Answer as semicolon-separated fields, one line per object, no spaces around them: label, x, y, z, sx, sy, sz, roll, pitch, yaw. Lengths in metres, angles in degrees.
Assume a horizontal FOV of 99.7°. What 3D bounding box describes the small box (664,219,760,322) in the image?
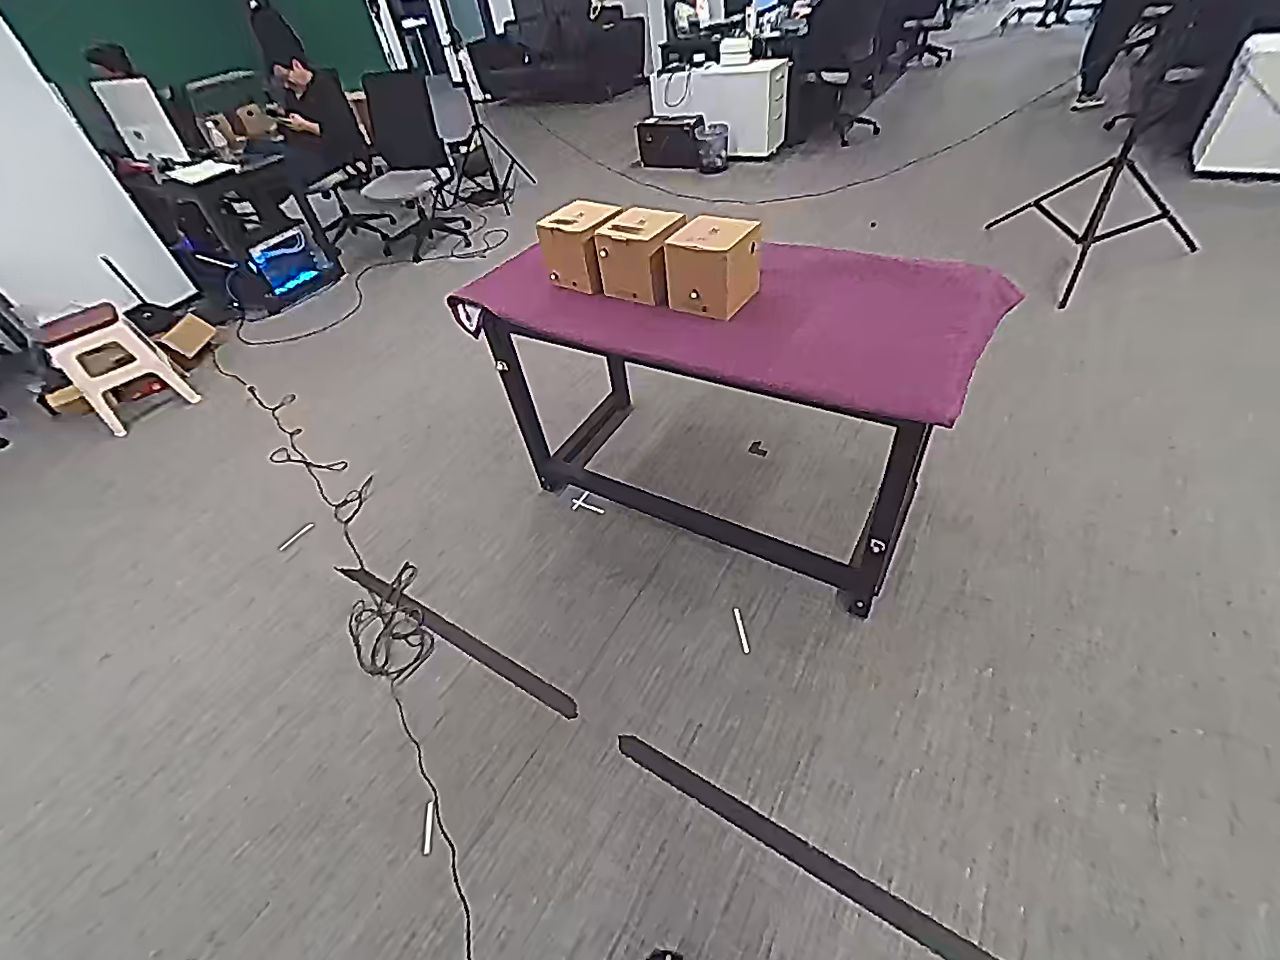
small box;0.177;-0.509;1.311;0.168;0.176;0.179;21;52;29
